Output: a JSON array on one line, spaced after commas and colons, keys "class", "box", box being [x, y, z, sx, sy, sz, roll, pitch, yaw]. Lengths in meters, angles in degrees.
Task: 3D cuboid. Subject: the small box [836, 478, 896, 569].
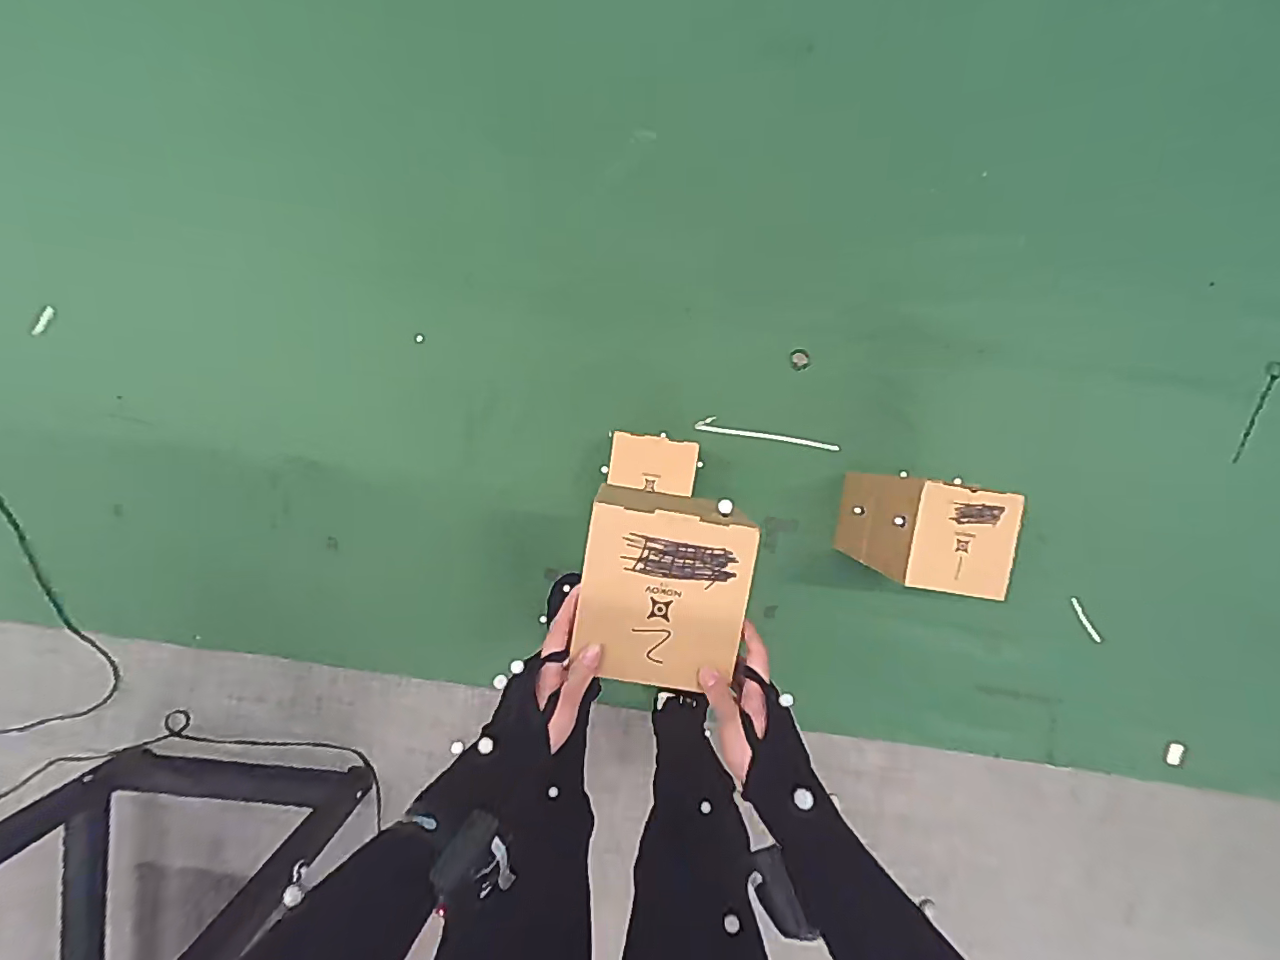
[{"class": "small box", "box": [0.521, 0.094, 1.112, 0.168, 0.176, 0.179, 10, 93, 0]}]

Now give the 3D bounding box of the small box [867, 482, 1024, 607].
[{"class": "small box", "box": [0.521, 0.102, 0.947, 0.168, 0.176, 0.179, 10, 94, 0]}]

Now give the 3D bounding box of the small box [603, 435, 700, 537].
[{"class": "small box", "box": [0.024, 0.008, 1.112, 0.168, 0.176, 0.179, 9, 92, 0]}]
